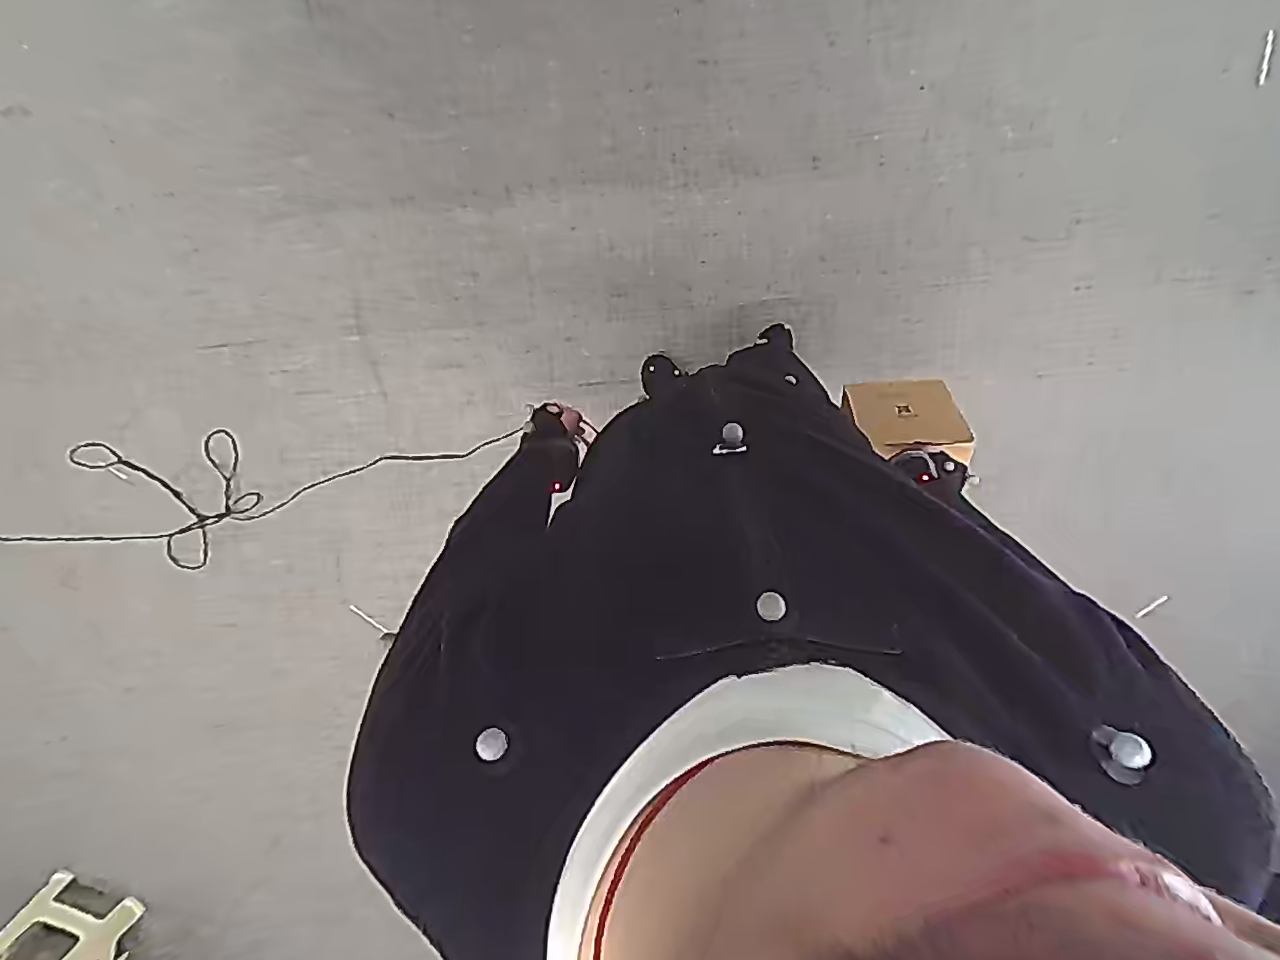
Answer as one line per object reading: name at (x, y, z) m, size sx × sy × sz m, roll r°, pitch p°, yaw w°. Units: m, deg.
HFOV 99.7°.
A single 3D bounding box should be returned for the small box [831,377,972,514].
small box at (0.431, -0.056, 0.925) m, size 0.168 × 0.179 × 0.176 m, roll -1°, pitch 133°, yaw 9°
